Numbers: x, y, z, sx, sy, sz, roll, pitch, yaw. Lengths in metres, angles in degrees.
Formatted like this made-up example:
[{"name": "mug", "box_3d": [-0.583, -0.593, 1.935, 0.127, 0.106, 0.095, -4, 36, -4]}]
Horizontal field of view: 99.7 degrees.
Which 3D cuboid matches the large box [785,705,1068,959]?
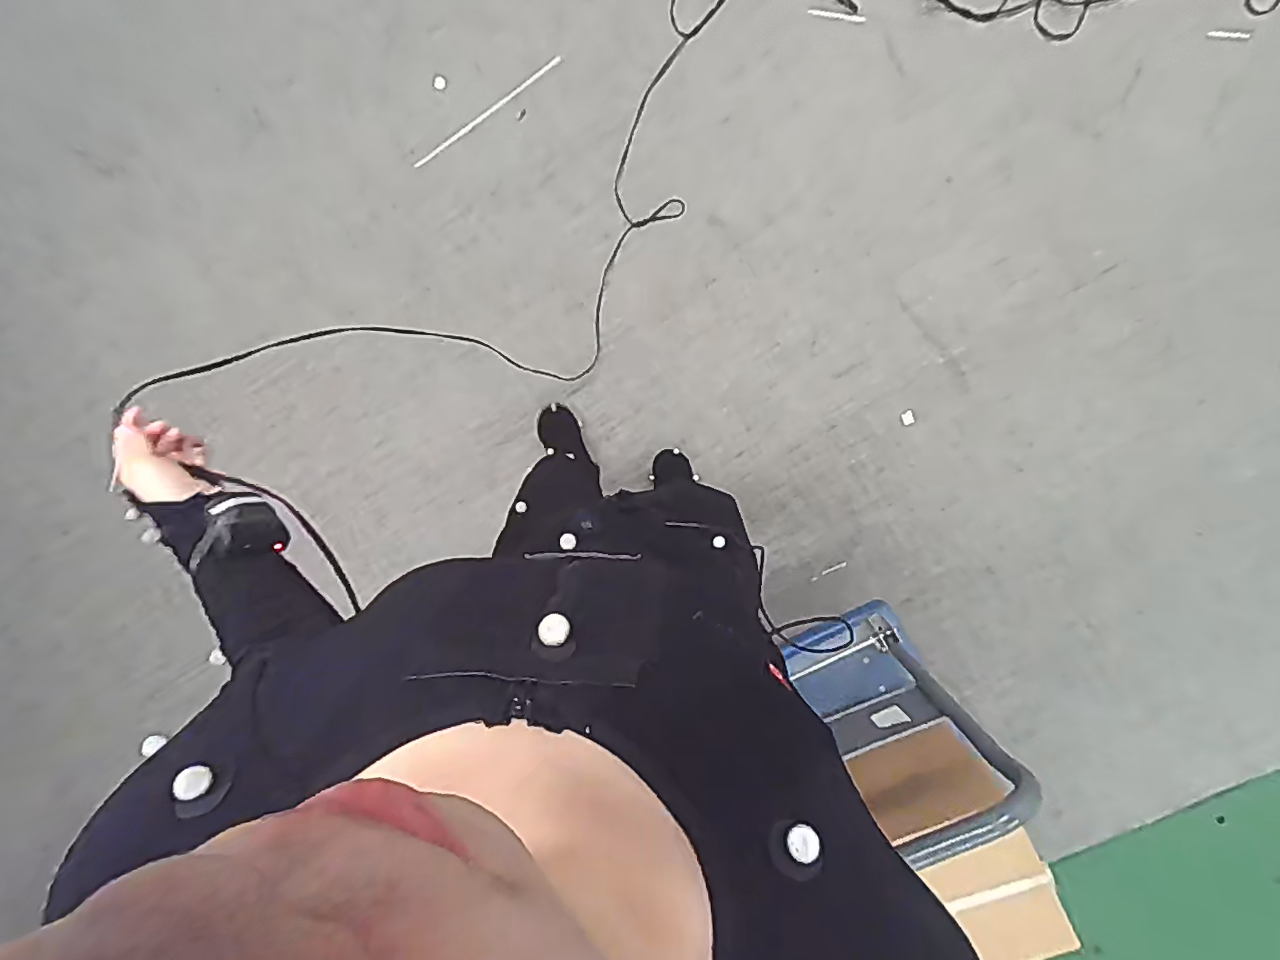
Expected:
[{"name": "large box", "box_3d": [0.582, 0.768, 1.182, 0.408, 0.320, 0.320, -26, 91, 9]}]
